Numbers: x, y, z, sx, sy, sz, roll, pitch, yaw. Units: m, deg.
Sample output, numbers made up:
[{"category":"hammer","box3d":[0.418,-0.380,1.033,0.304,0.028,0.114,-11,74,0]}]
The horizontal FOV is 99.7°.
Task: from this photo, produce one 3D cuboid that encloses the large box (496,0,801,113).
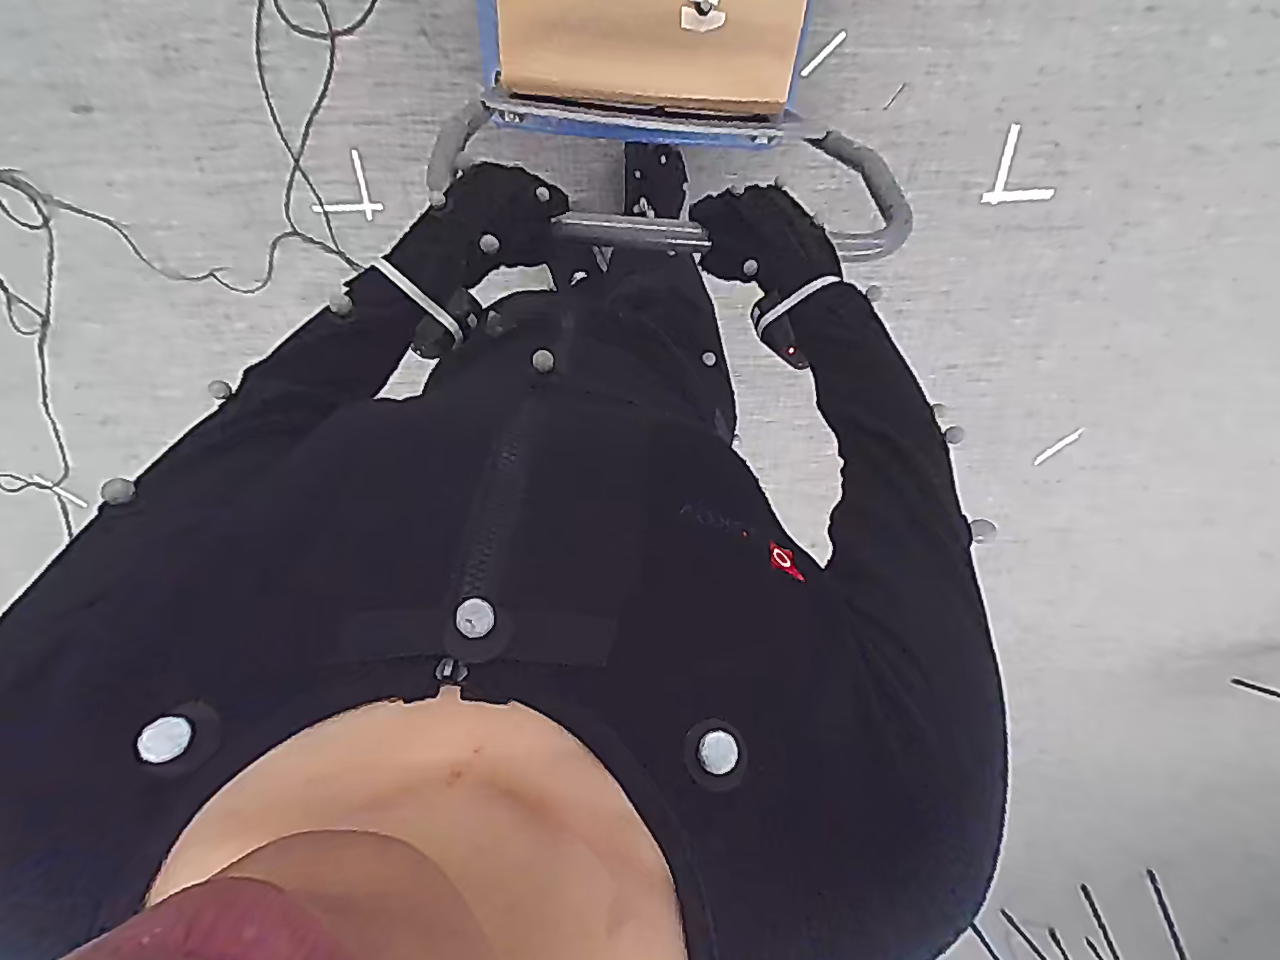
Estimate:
[{"category":"large box","box3d":[0.003,-0.742,0.792,0.408,0.320,0.320,0,128,-6]}]
